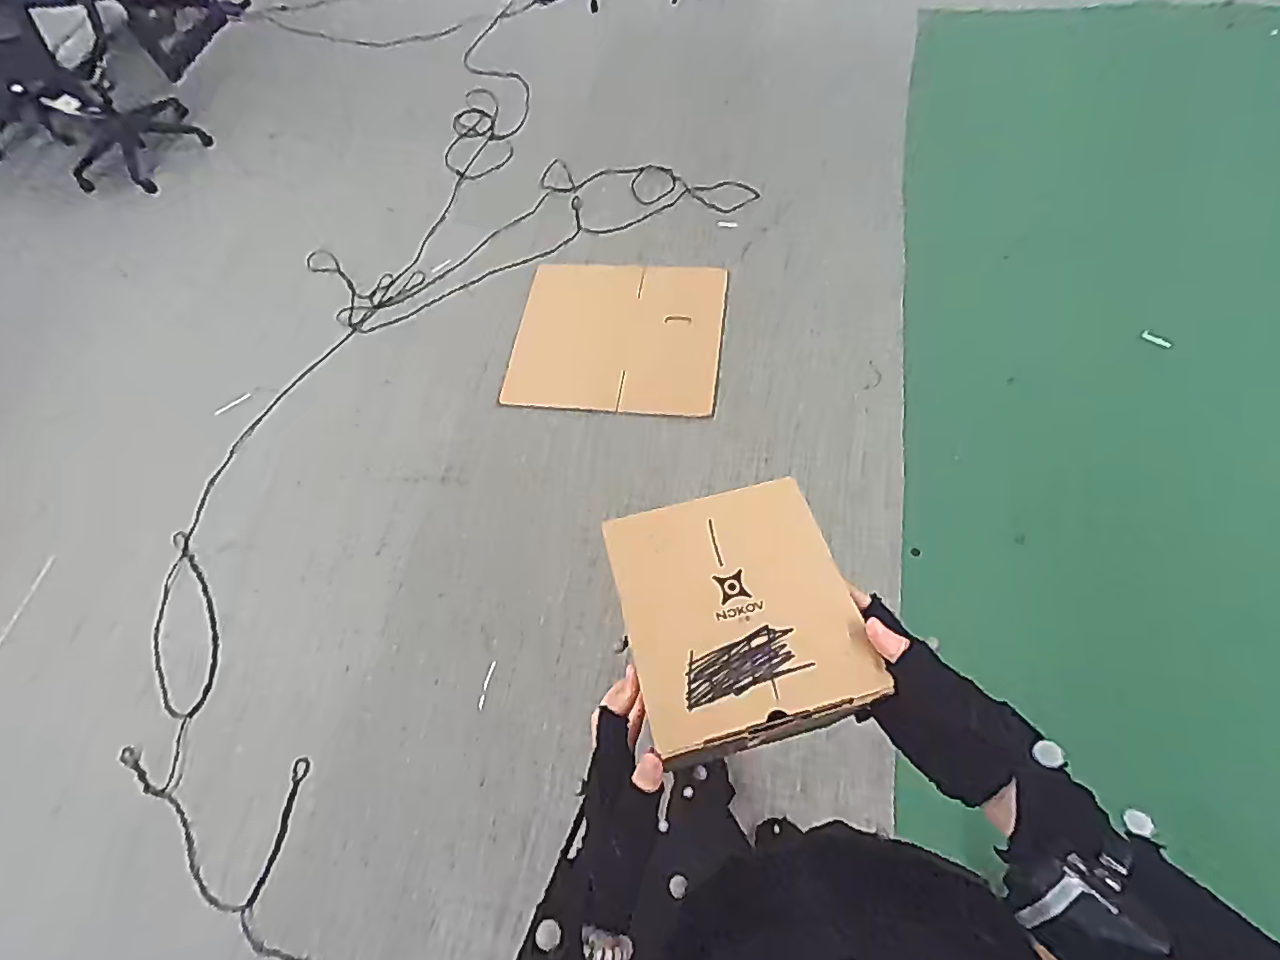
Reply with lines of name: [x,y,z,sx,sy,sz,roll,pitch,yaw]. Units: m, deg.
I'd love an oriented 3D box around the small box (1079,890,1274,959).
small box: [0.818,0.774,0.834,0.168,0.176,0.179,12,67,13]
